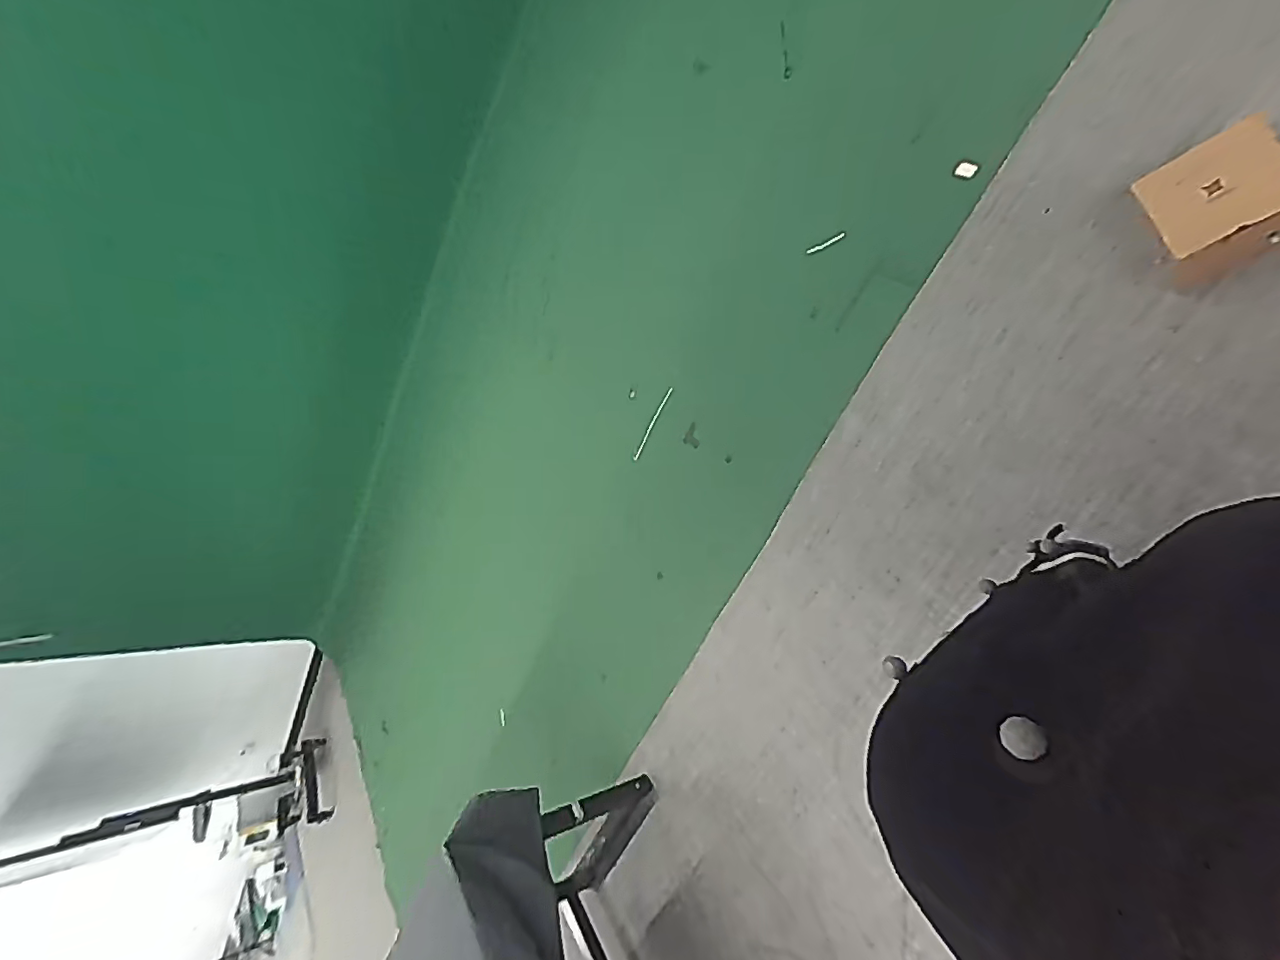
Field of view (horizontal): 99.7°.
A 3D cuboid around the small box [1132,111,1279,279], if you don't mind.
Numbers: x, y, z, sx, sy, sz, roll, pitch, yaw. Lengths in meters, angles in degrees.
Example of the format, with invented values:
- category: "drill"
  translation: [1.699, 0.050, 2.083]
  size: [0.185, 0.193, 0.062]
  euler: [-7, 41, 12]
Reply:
- category: "small box"
  translation: [1.012, -0.480, 0.946]
  size: [0.168, 0.176, 0.179]
  euler: [-29, 63, 39]
